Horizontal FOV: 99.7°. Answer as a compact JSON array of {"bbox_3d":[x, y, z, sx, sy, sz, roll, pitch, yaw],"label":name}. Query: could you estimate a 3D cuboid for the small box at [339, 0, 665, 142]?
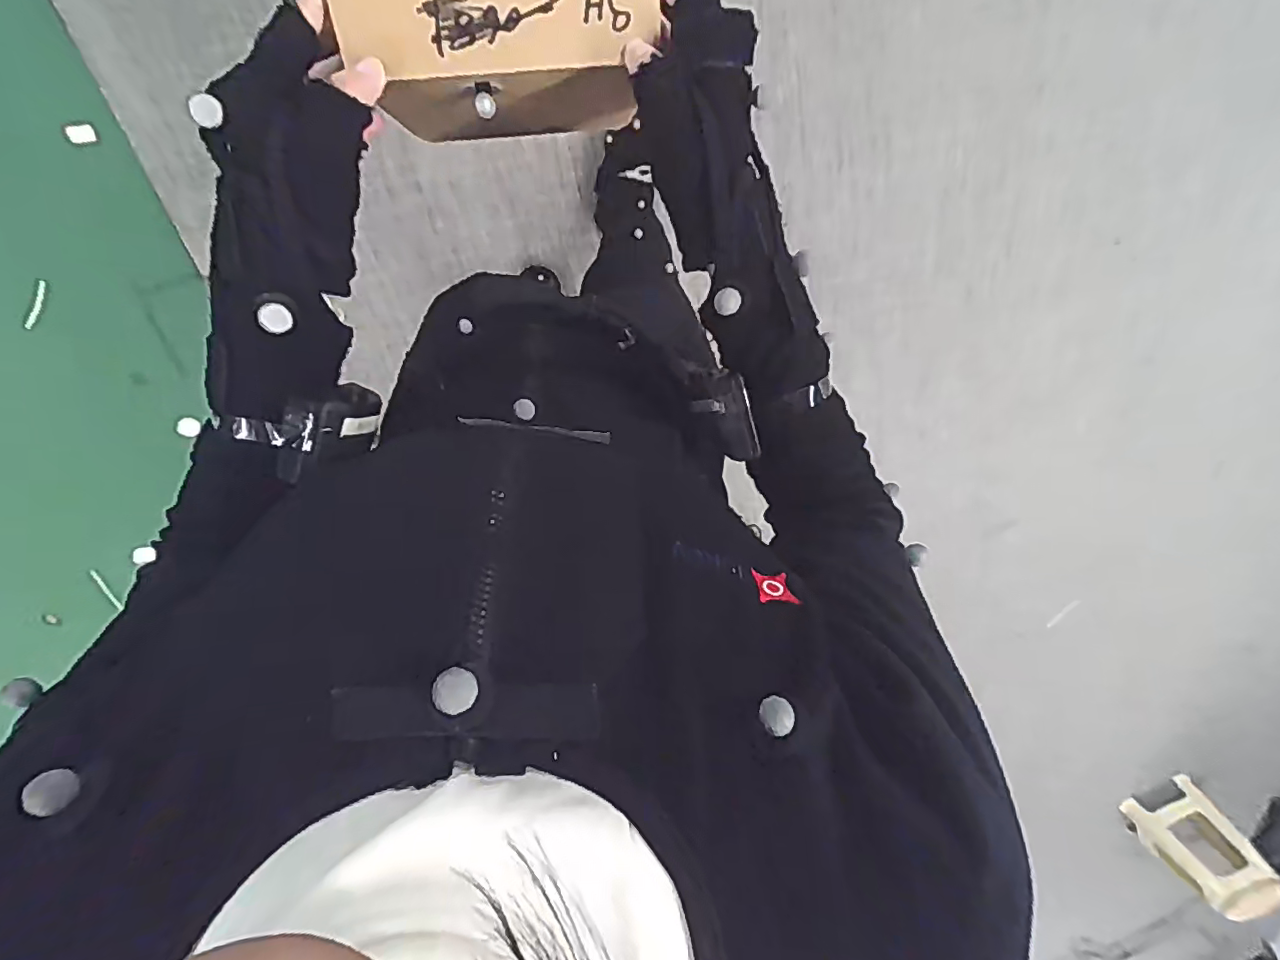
[{"bbox_3d":[-0.084,-0.326,0.327,0.168,0.176,0.179,-8,114,-4],"label":"small box"}]
